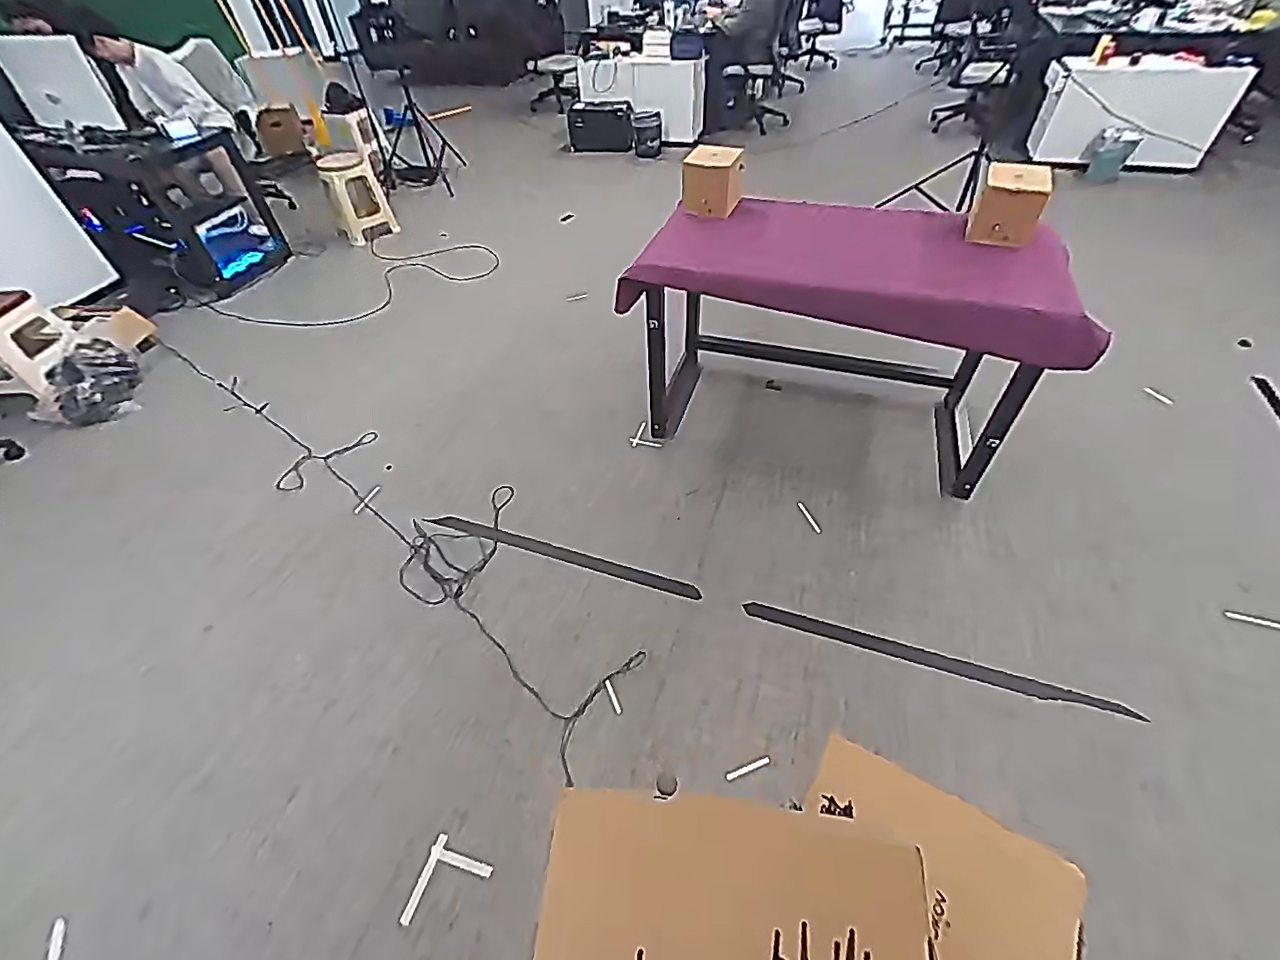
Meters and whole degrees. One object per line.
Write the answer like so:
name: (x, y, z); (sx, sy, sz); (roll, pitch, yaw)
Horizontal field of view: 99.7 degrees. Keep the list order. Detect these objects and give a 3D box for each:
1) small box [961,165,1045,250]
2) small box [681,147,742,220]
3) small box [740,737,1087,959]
small box: (1.106, -0.833, 1.654); (0.168, 0.176, 0.179); (16, 54, 18)
small box: (0.247, -1.040, 1.894); (0.168, 0.176, 0.179); (16, 52, 17)
small box: (0.193, 0.344, 0.419); (0.179, 0.176, 0.168); (24, 53, 26)
